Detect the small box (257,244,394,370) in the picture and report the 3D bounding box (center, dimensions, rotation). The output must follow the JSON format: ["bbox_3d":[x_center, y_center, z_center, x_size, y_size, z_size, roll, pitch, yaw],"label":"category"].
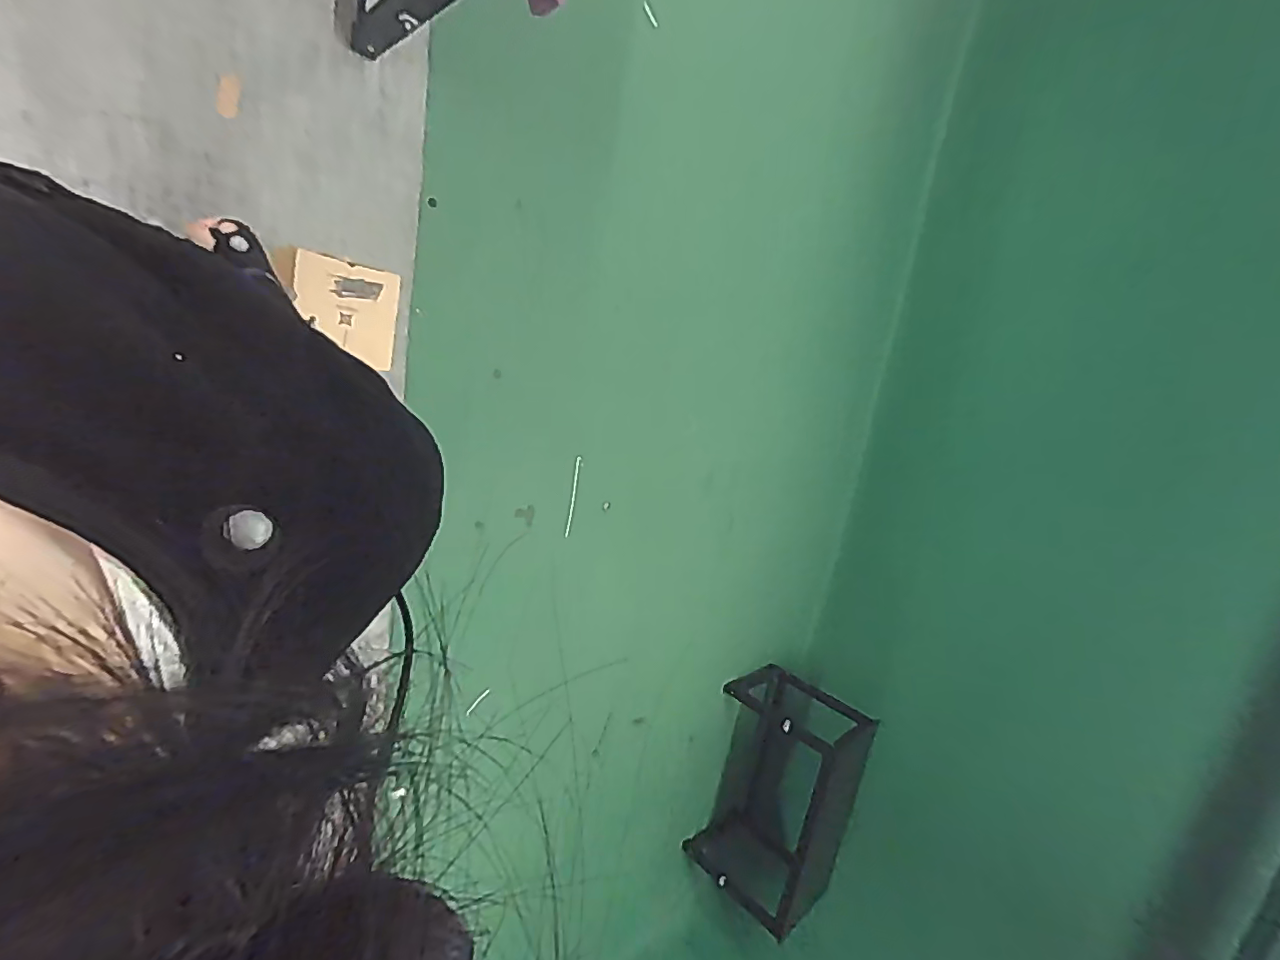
[{"bbox_3d":[-0.566,-0.309,0.969,0.168,0.176,0.179,1,106,-47],"label":"small box"}]

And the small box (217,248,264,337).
[{"bbox_3d":[-0.798,-0.389,1.187,0.179,0.176,0.168,13,96,-48],"label":"small box"}]
